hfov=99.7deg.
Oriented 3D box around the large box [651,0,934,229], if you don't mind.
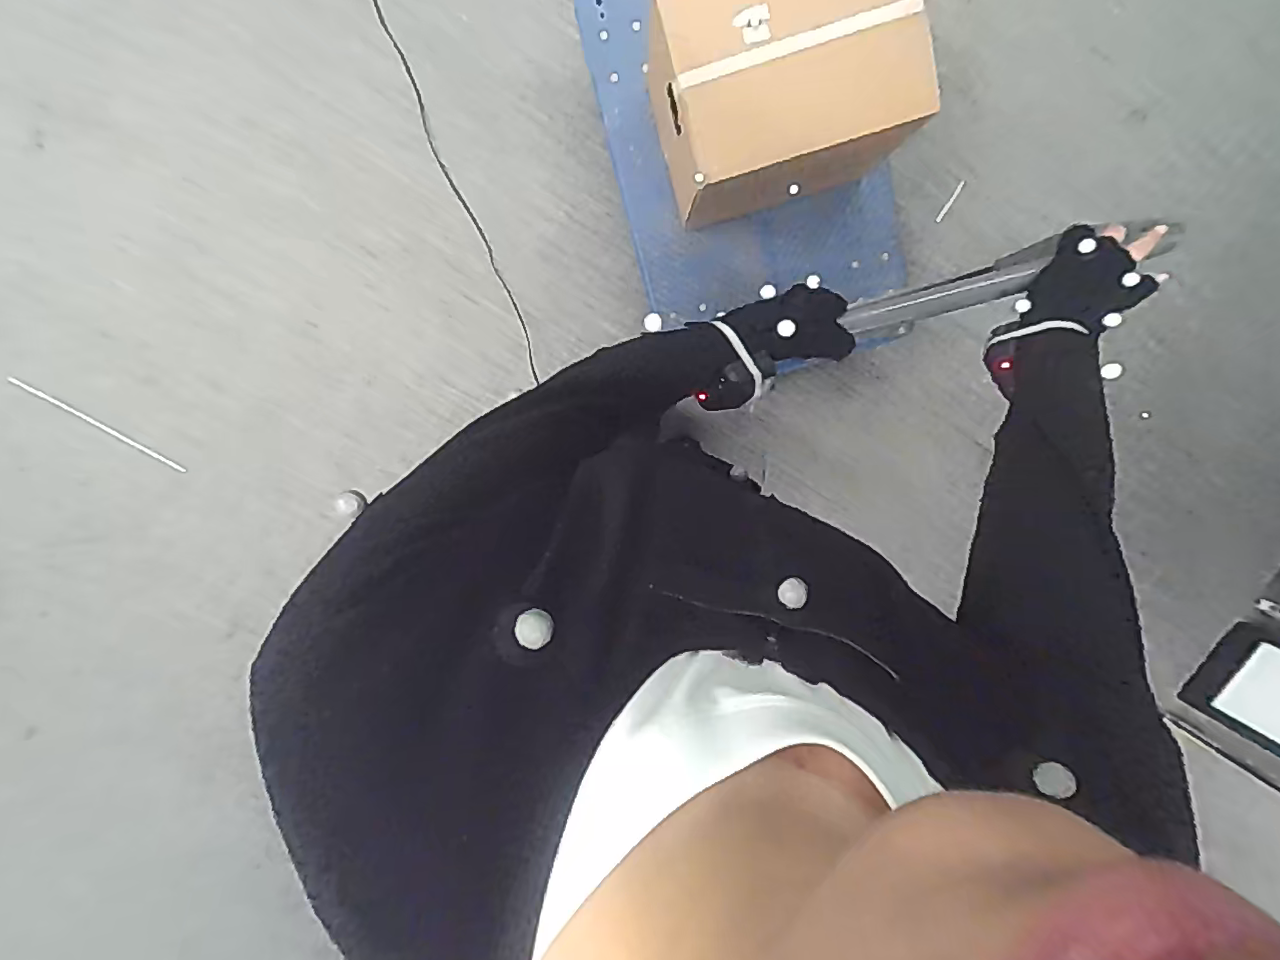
[{"bbox_3d":[0.254,-0.721,1.019,0.408,0.320,0.320,-17,101,3],"label":"large box"}]
